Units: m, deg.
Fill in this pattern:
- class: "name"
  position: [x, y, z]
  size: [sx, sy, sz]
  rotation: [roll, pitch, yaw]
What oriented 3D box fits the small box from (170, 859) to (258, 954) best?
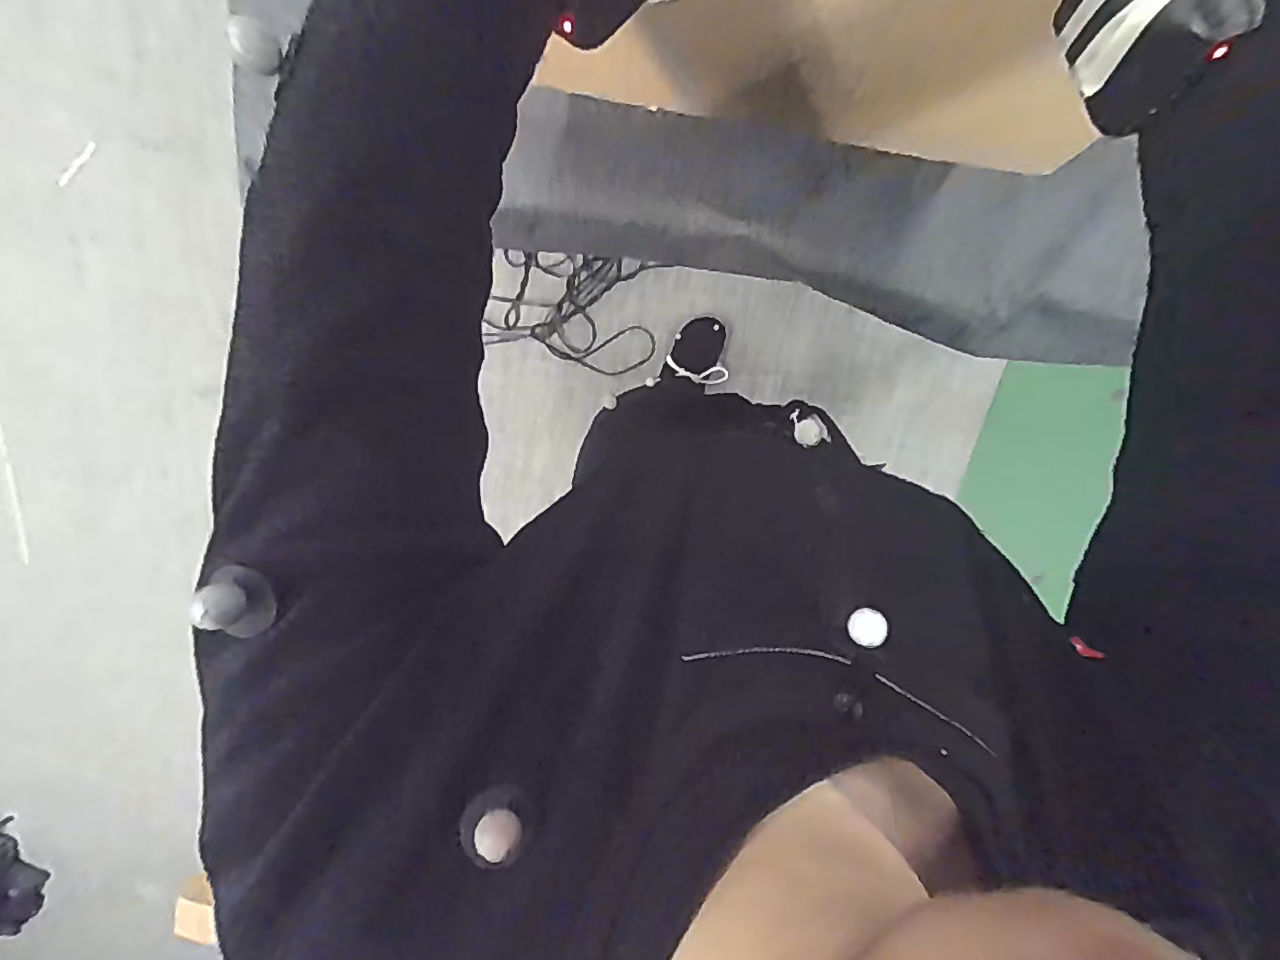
- class: "small box"
  position: [-1.417, 1.420, 1.808]
  size: [0.168, 0.176, 0.179]
  rotation: [17, 107, -1]
